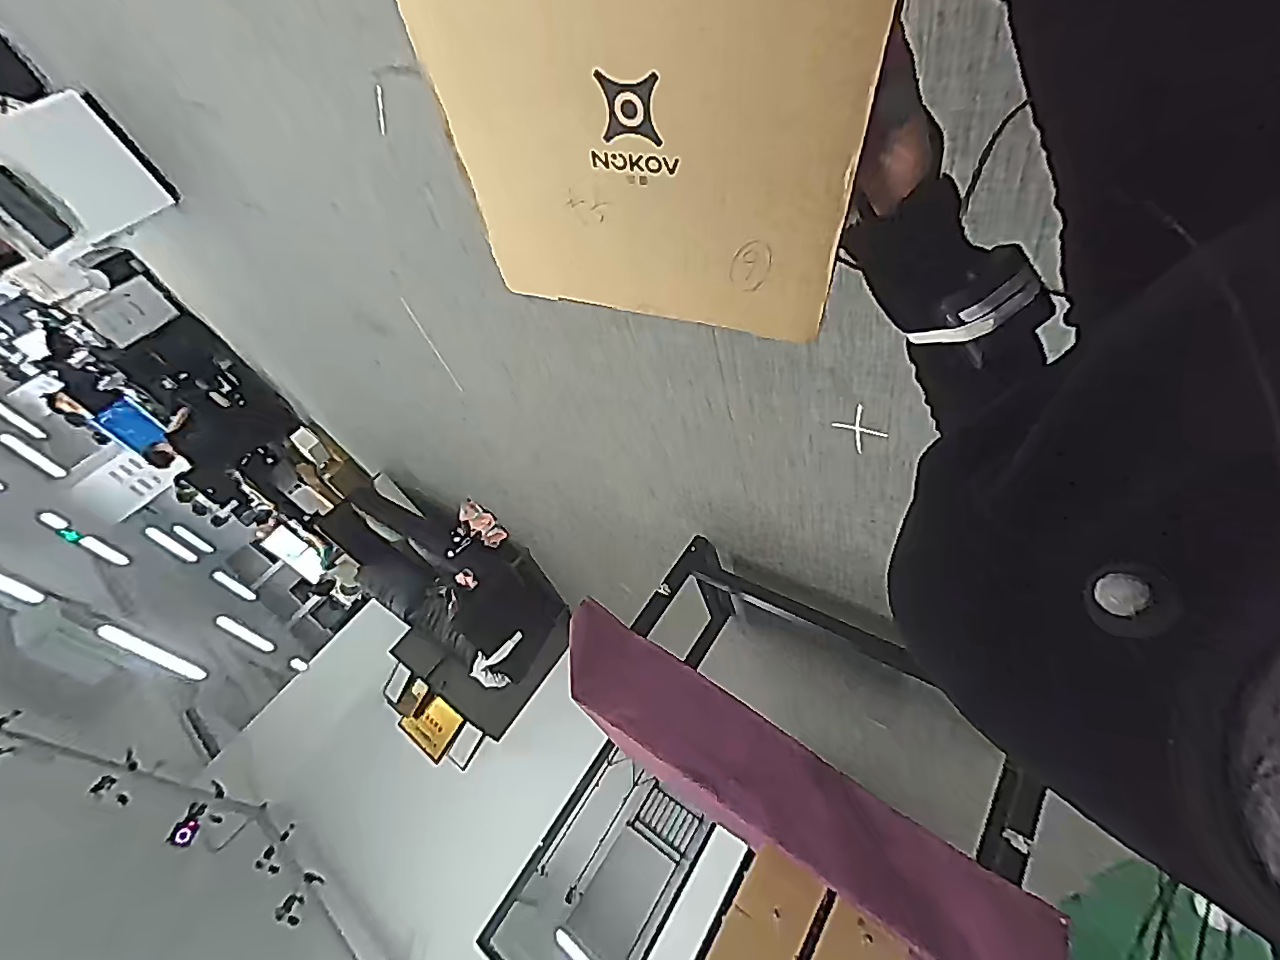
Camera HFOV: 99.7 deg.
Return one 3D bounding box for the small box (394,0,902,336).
[{"bbox_3d":[0.021,-0.196,0.231,0.168,0.176,0.179,14,150,14],"label":"small box"}]
